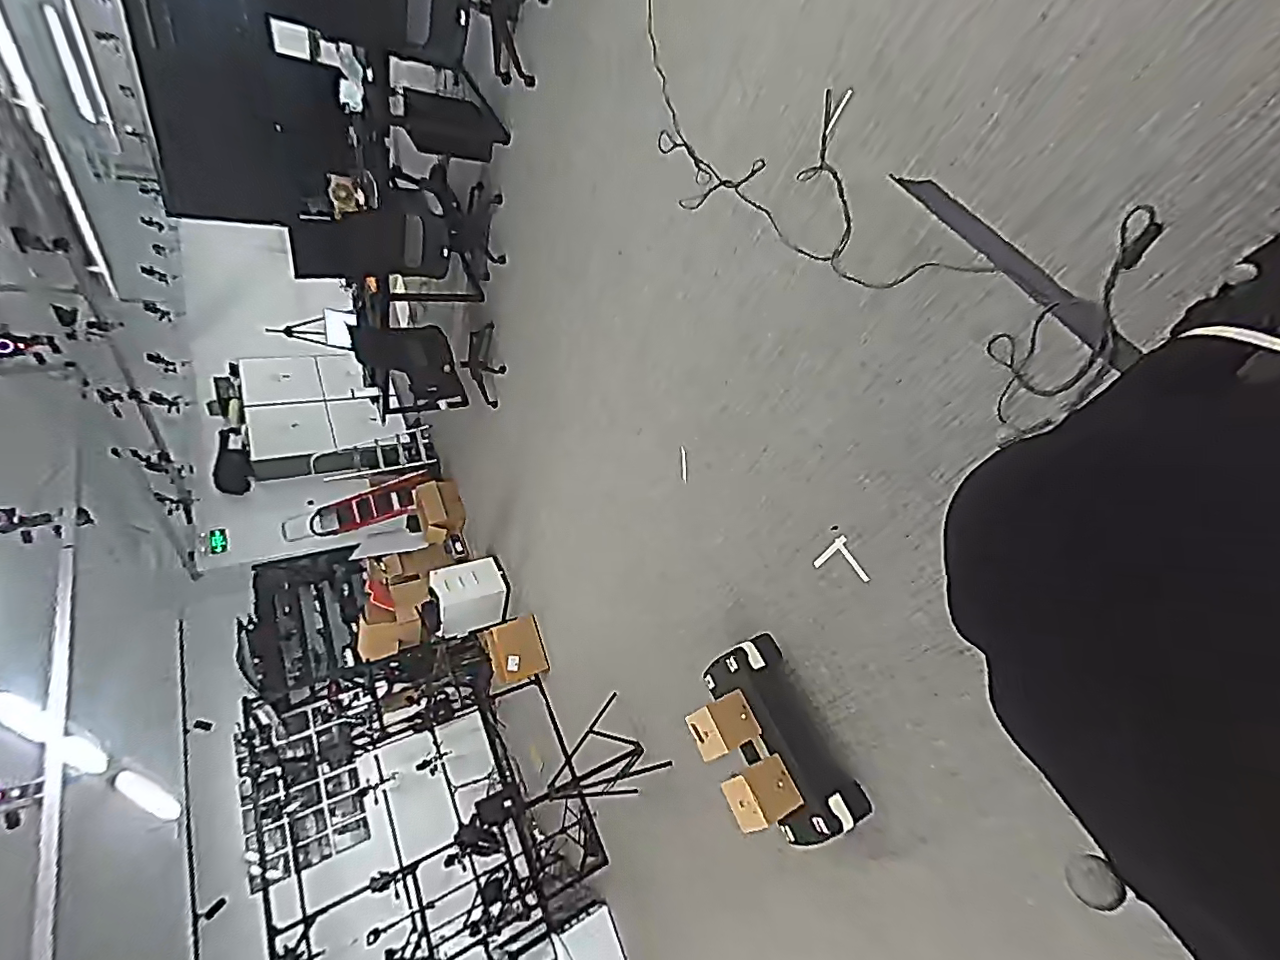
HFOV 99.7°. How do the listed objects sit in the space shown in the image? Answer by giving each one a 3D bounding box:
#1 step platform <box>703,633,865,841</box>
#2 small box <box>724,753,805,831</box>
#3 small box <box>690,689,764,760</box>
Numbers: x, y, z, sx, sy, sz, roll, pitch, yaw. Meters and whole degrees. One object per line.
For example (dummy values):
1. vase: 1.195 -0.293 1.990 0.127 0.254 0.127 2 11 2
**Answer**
1. step platform: 0.506 0.938 2.005 0.684 0.204 0.286 60 144 26
2. small box: 0.426 1.062 1.840 0.168 0.176 0.179 61 144 25
3. small box: 0.315 0.883 1.960 0.168 0.176 0.179 62 144 24
